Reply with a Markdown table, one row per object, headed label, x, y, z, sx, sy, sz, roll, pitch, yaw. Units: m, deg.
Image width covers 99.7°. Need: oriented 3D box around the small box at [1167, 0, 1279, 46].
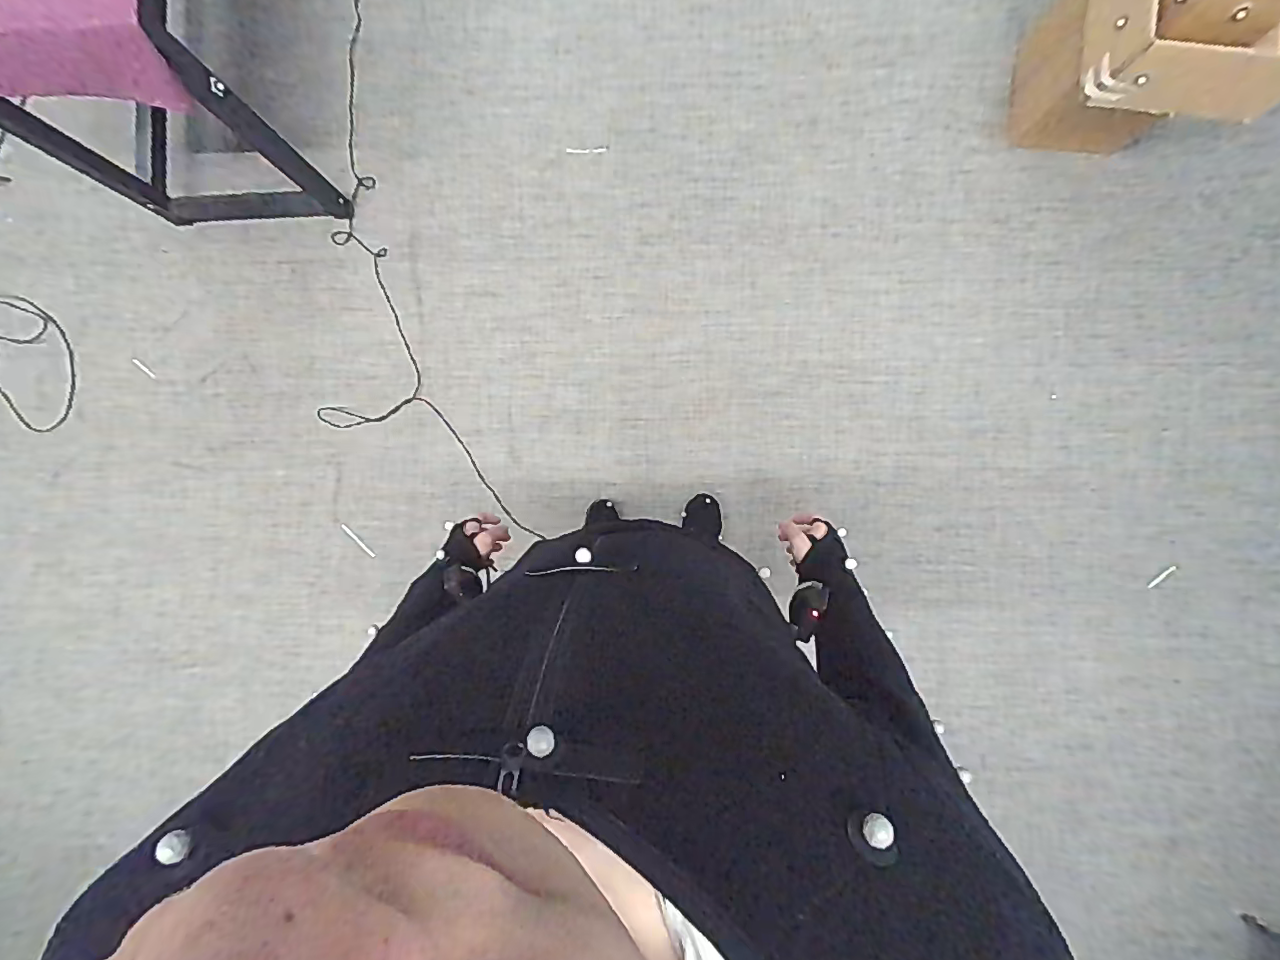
| label | x | y | z | sx | sy | sz | roll | pitch | yaw |
| --- | --- | --- | --- | --- | --- | --- | --- | --- | --- |
| small box | 1.228 | -1.021 | 1.083 | 0.179 | 0.176 | 0.168 | 12 | 91 | 4 |
